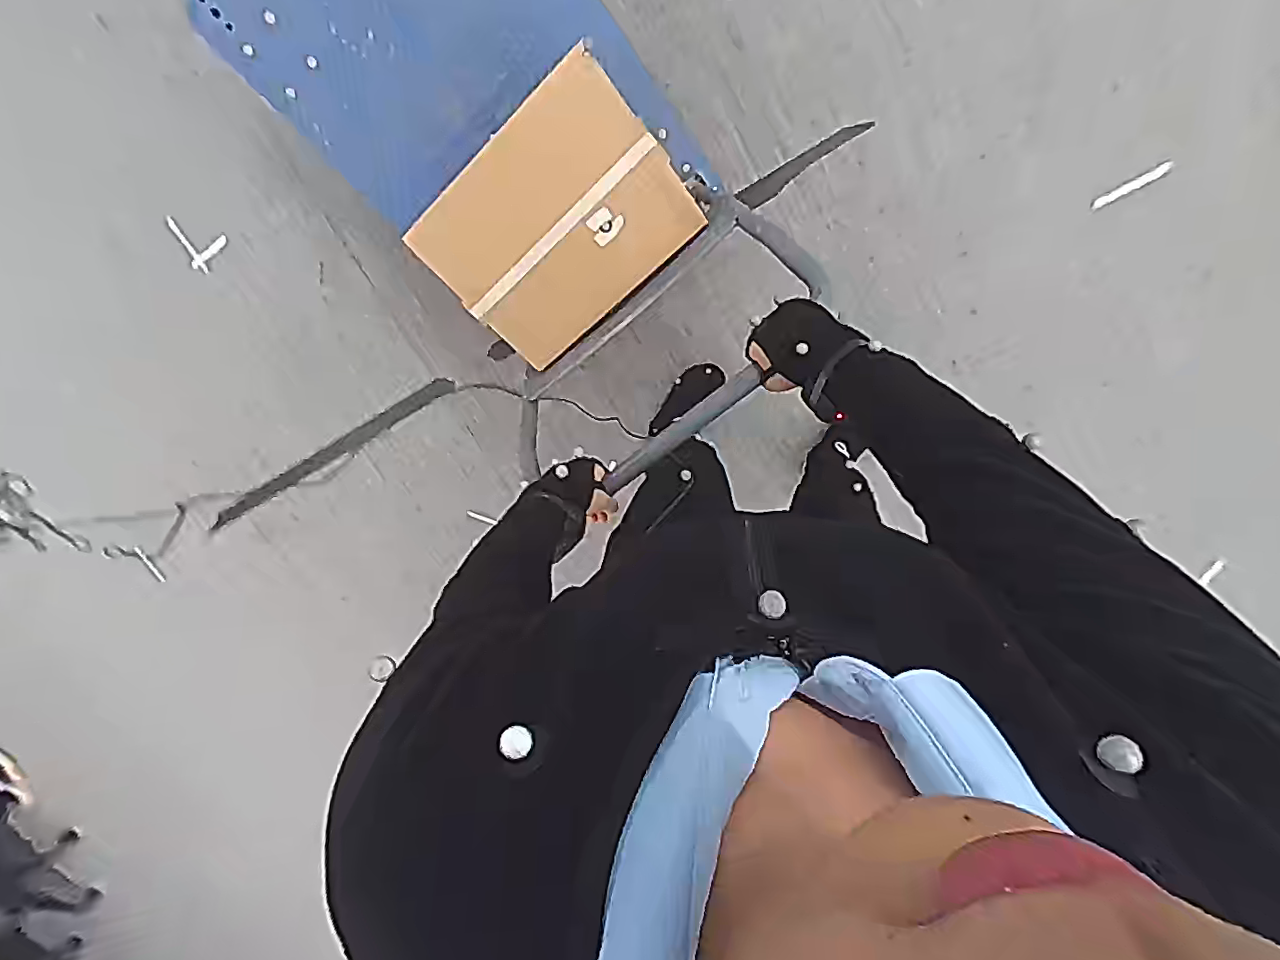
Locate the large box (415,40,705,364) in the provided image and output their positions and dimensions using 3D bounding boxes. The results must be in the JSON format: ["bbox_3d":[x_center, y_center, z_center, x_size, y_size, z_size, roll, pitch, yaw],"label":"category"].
[{"bbox_3d":[-0.147,-0.506,1.032,0.408,0.320,0.320,-38,119,16],"label":"large box"}]
